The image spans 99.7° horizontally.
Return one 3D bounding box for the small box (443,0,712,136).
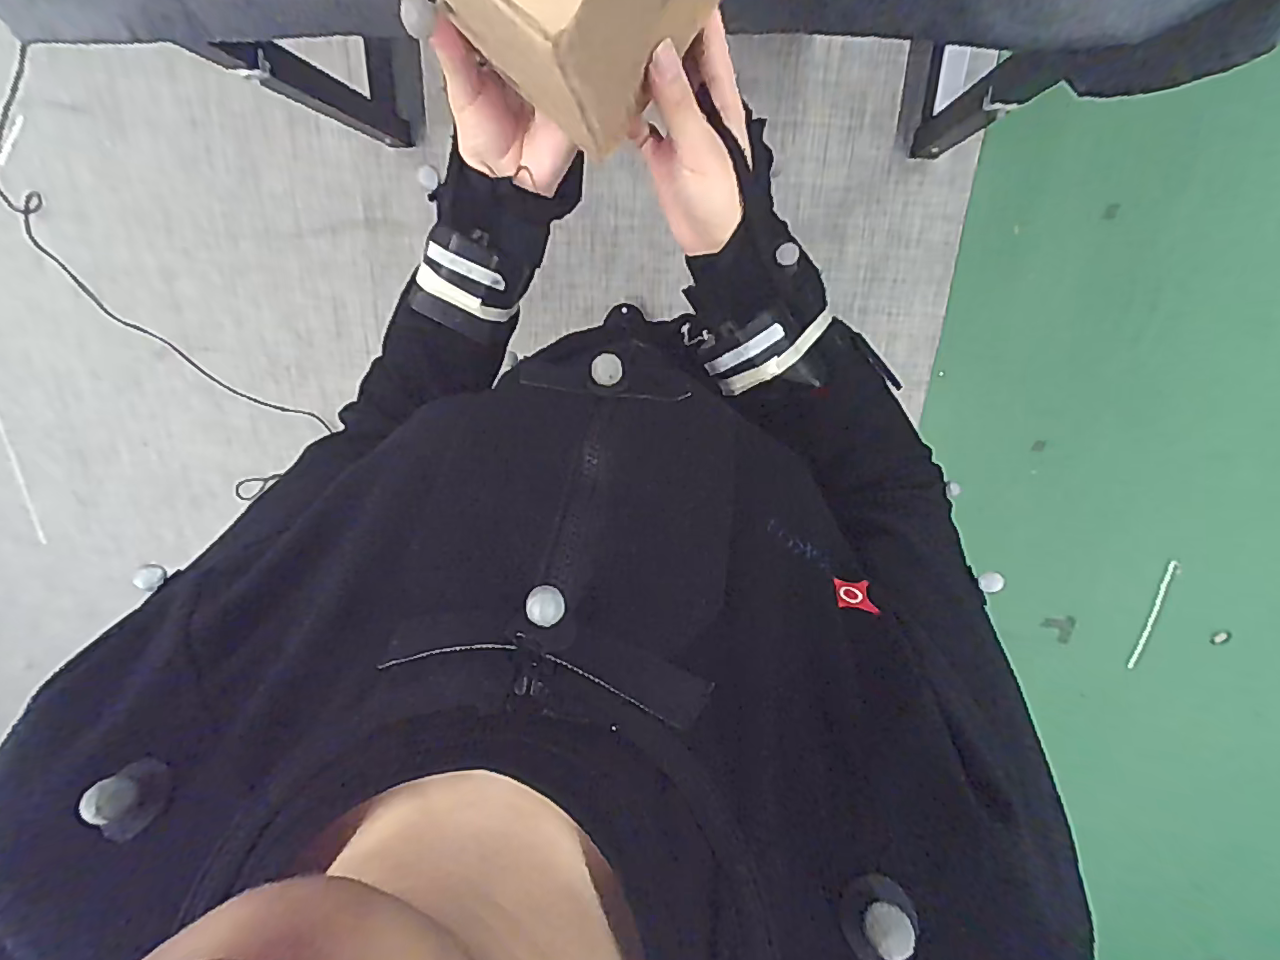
[{"bbox_3d":[-0.030,-0.263,0.189,0.168,0.176,0.179,36,109,-12],"label":"small box"}]
